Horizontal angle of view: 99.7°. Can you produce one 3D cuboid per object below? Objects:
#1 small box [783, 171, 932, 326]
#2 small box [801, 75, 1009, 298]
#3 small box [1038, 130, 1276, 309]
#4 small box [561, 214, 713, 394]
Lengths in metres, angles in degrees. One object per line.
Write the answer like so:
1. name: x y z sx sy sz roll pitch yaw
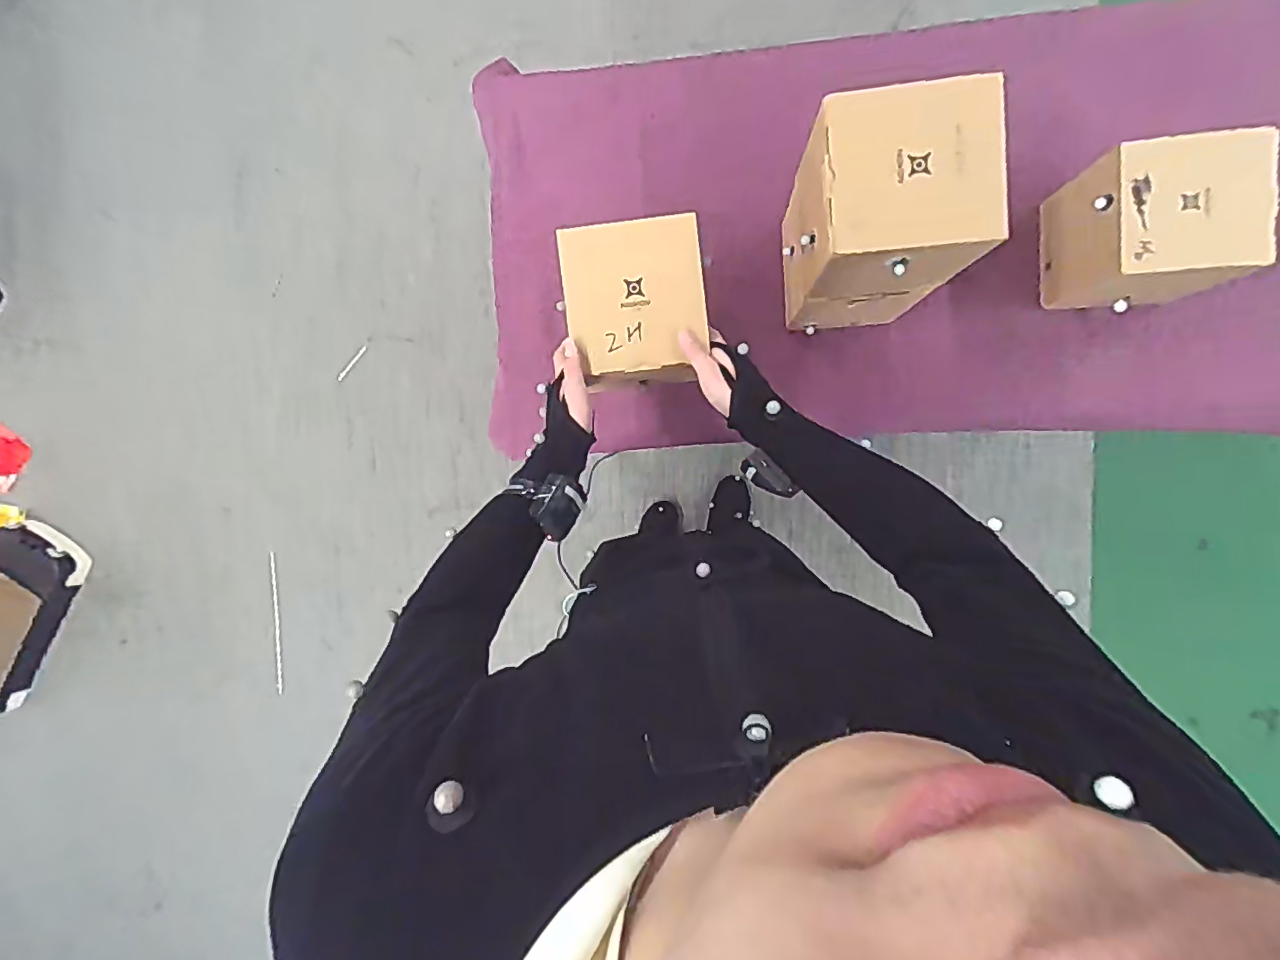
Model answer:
1. small box: 0.306 -0.330 0.789 0.168 0.176 0.179 -3 91 6
2. small box: 0.288 -0.320 0.627 0.179 0.176 0.168 -3 92 6
3. small box: 0.694 -0.344 0.745 0.179 0.176 0.168 -2 91 6
4. small box: -0.003 -0.215 0.705 0.168 0.176 0.179 -7 93 2
